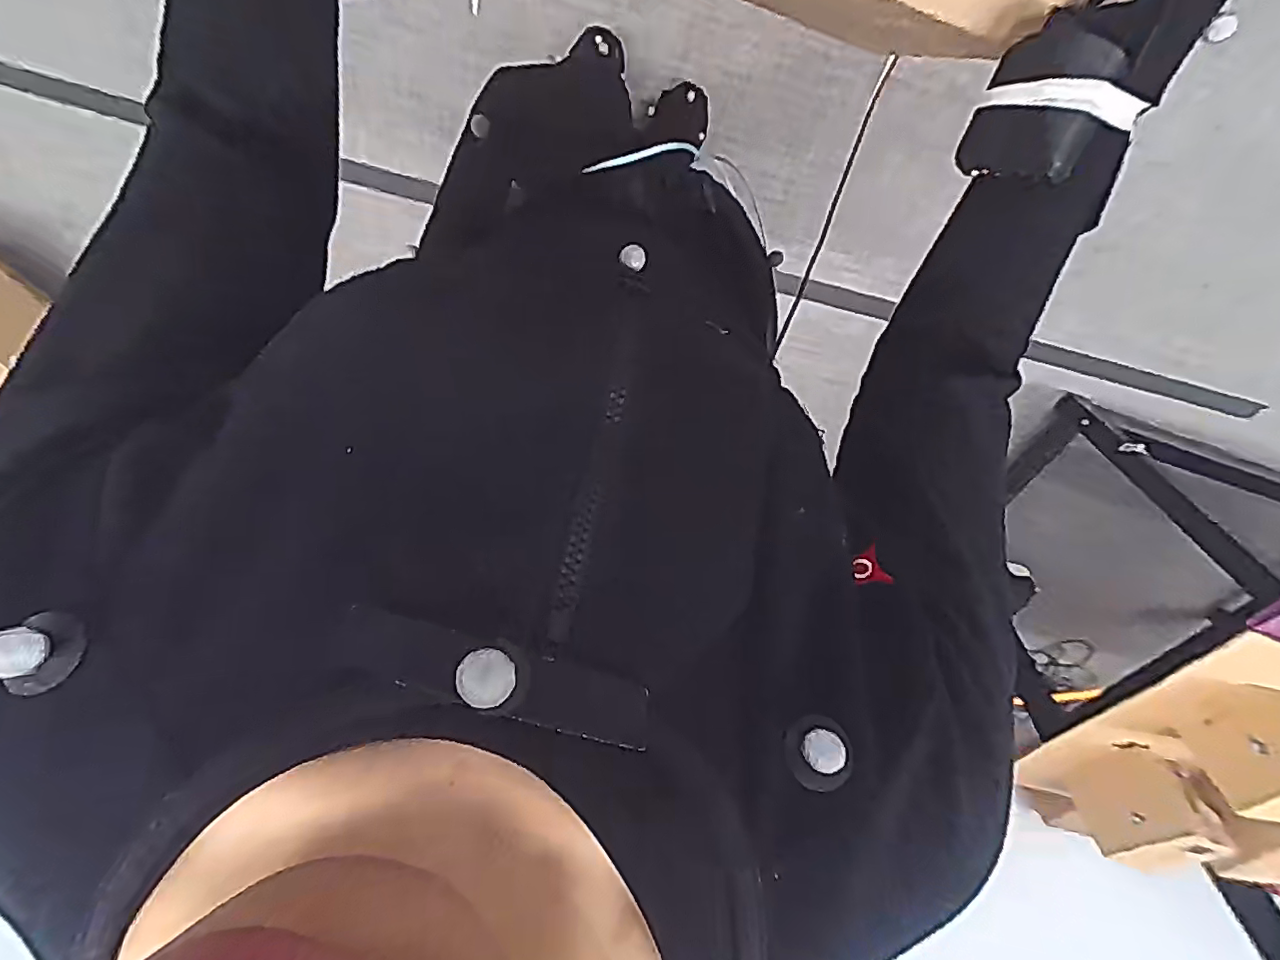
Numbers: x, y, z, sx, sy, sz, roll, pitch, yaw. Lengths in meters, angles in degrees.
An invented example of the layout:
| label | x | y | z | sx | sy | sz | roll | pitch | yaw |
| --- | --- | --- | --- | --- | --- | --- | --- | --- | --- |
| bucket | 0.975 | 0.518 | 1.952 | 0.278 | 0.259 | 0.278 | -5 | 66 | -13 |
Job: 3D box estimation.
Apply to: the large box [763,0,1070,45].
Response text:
| label | x | y | z | sx | sy | sz | roll | pitch | yaw |
| --- | --- | --- | --- | --- | --- | --- | --- | --- | --- |
| large box | 0.093 | -0.507 | 0.314 | 0.408 | 0.320 | 0.320 | 14 | 129 | -9 |
